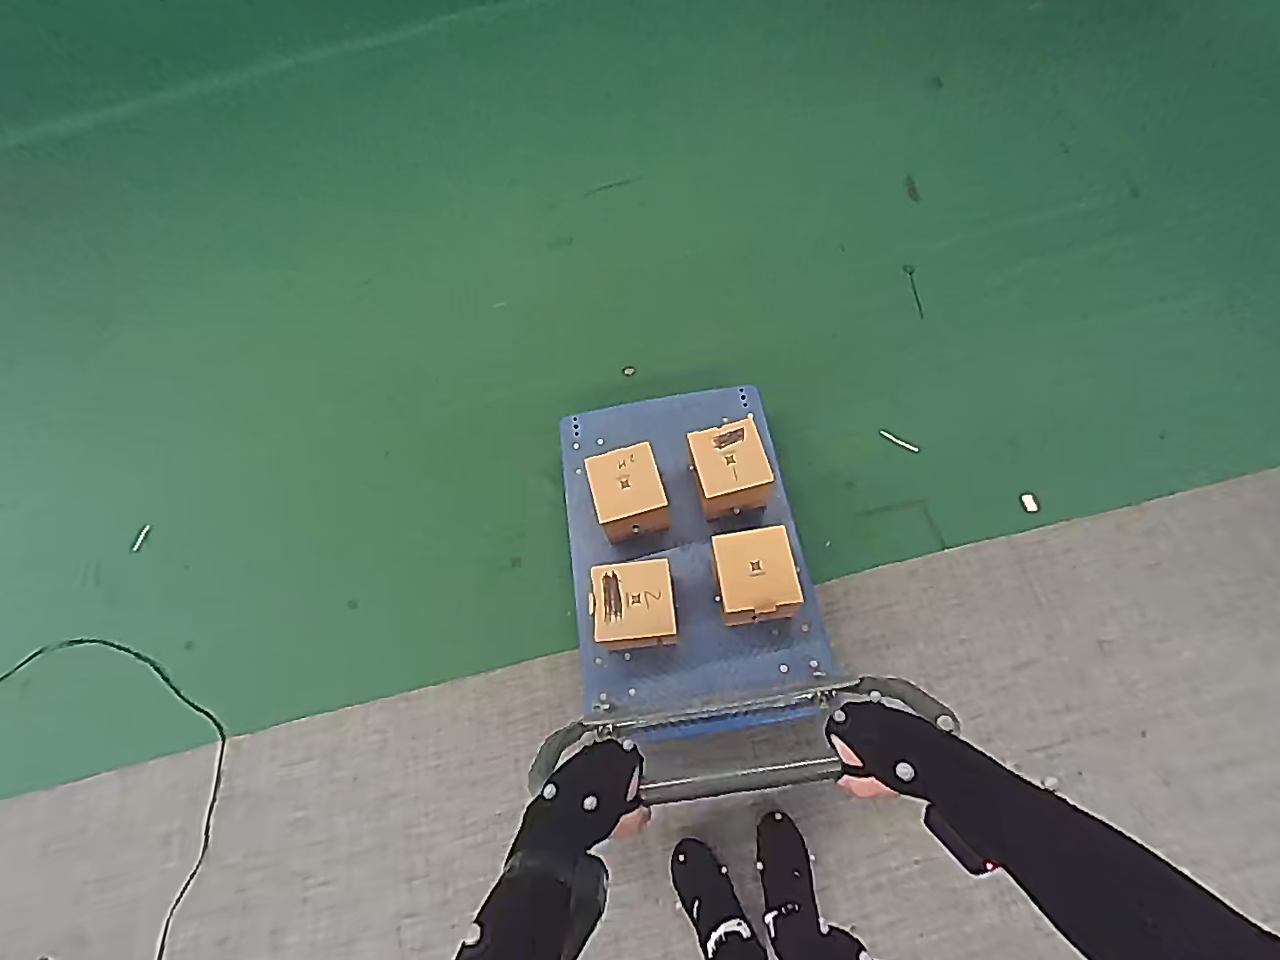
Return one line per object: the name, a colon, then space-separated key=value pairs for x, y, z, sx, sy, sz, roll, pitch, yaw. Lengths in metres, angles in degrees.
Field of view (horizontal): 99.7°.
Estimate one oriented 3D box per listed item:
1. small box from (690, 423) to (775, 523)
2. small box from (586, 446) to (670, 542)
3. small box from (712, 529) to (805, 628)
small box: x=0.222 y=-0.014 z=1.345 sx=0.168 sy=0.176 sz=0.179 roll=-14 pitch=67 yaw=0
small box: x=-0.025 y=0.045 z=1.346 sx=0.168 sy=0.176 sz=0.179 roll=-15 pitch=66 yaw=-2
small box: x=0.262 y=0.230 z=1.239 sx=0.168 sy=0.176 sz=0.179 roll=-9 pitch=67 yaw=2
